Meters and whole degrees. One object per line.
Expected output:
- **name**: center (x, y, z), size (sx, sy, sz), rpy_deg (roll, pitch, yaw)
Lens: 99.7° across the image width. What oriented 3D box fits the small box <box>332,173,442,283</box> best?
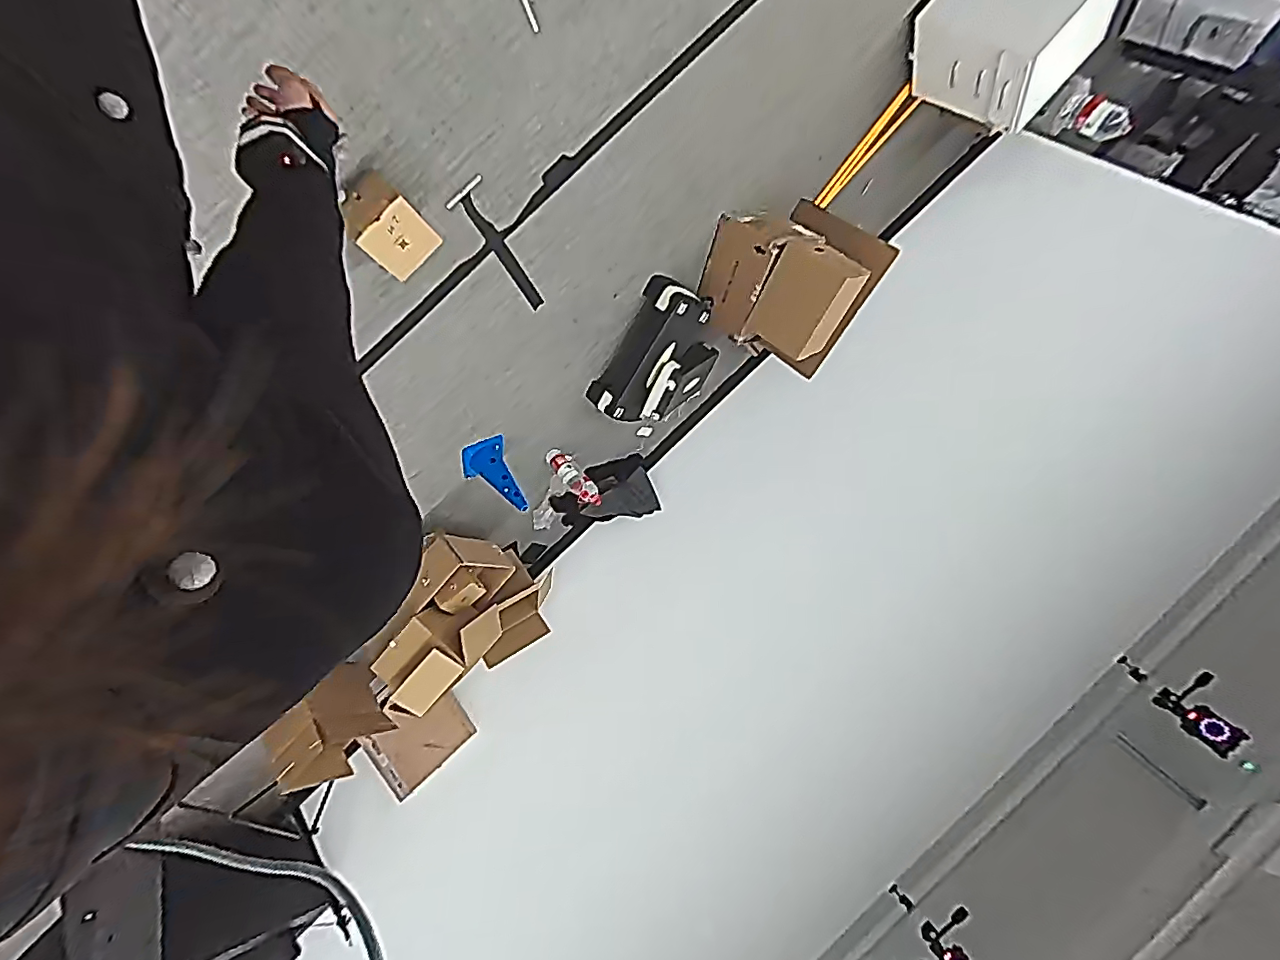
- **small box**: center (-0.681, -0.680, 1.456), size (0.168, 0.176, 0.179), rpy_deg (-45, 154, 1)
